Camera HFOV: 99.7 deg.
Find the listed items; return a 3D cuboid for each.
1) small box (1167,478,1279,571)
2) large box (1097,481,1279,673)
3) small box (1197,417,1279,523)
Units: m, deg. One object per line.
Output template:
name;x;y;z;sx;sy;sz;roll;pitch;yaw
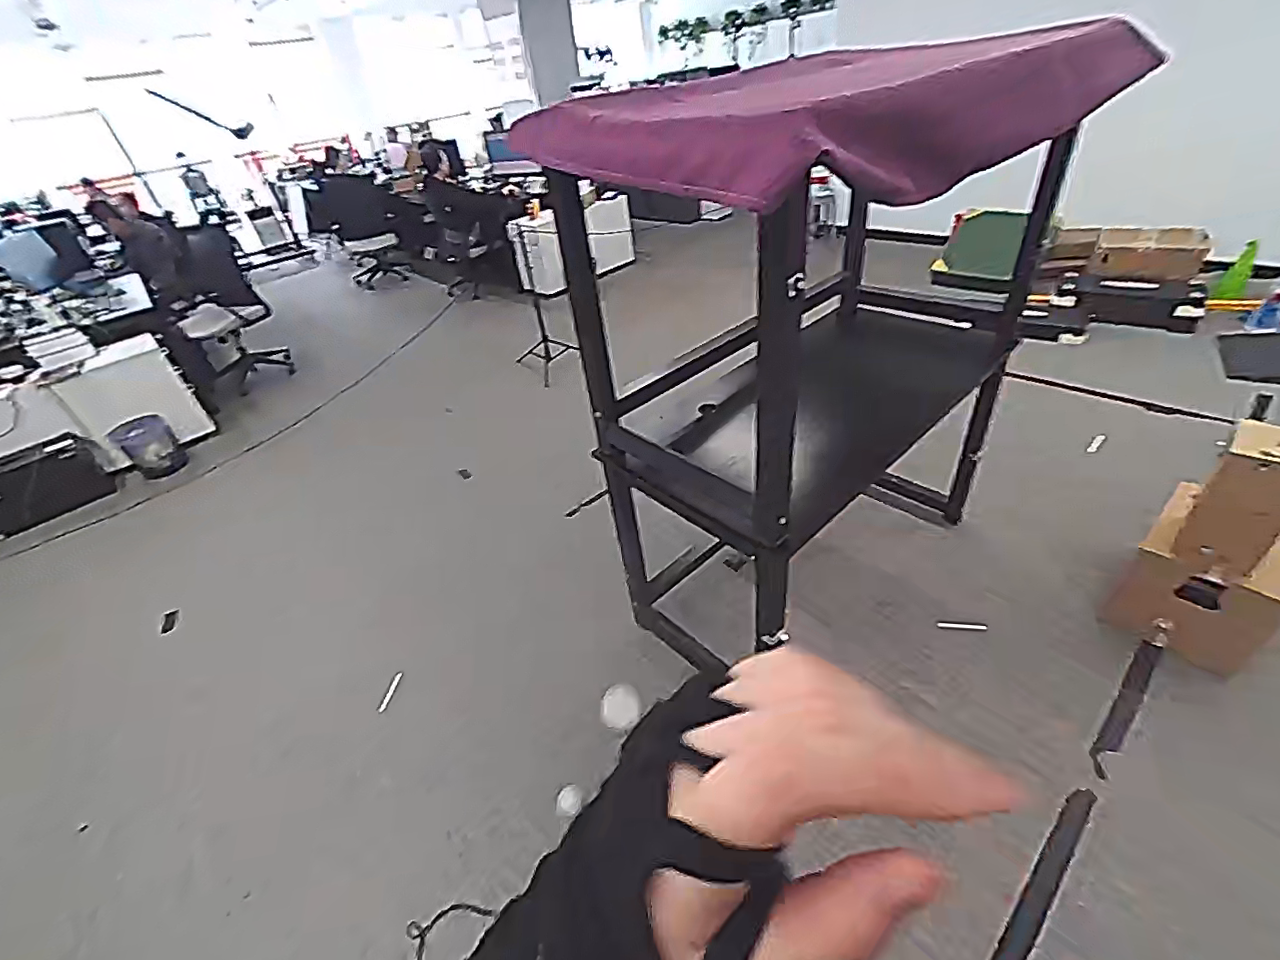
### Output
small box;1.540;0.103;1.420;0.179;0.176;0.168;-34;42;-28
large box;1.636;0.271;1.585;0.408;0.320;0.320;-32;44;-28
small box;1.516;-0.026;1.322;0.168;0.176;0.179;25;48;39
